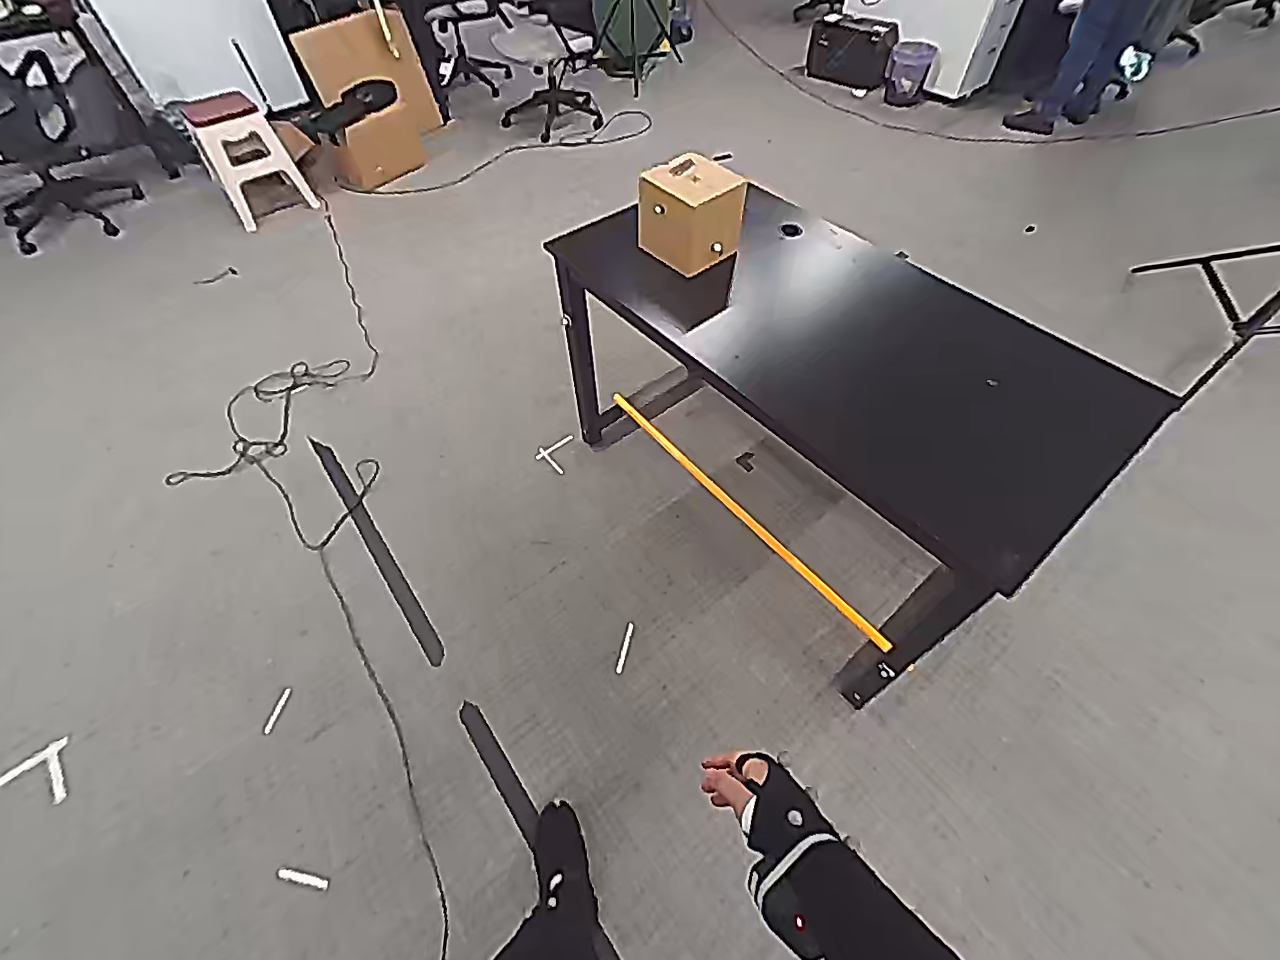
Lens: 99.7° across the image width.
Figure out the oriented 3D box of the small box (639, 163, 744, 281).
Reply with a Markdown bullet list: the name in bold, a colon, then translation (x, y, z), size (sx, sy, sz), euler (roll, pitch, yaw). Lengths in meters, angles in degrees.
- **small box**: translation (0.111, -0.590, 1.244), size (0.168, 0.176, 0.179), euler (-36, 62, -23)
